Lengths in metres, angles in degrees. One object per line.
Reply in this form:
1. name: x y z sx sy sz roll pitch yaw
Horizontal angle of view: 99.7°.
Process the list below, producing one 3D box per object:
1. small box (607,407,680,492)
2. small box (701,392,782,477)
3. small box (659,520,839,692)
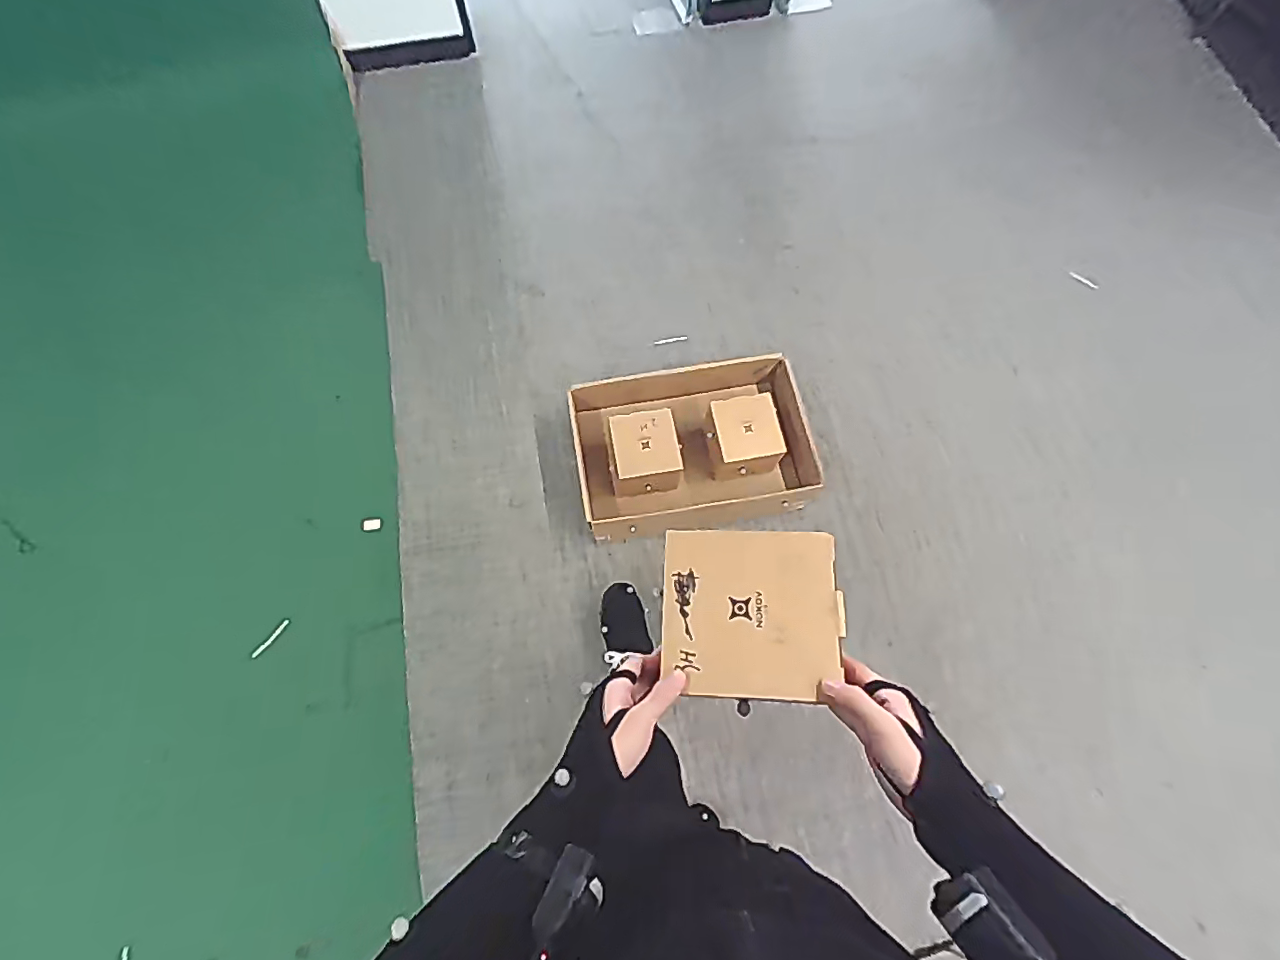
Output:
1. small box: 0.007 -0.074 1.456 0.168 0.176 0.179 -9 72 -5
2. small box: 0.271 -0.116 1.480 0.168 0.176 0.179 -10 72 -4
3. small box: 0.117 0.152 0.627 0.179 0.176 0.168 1 68 6
